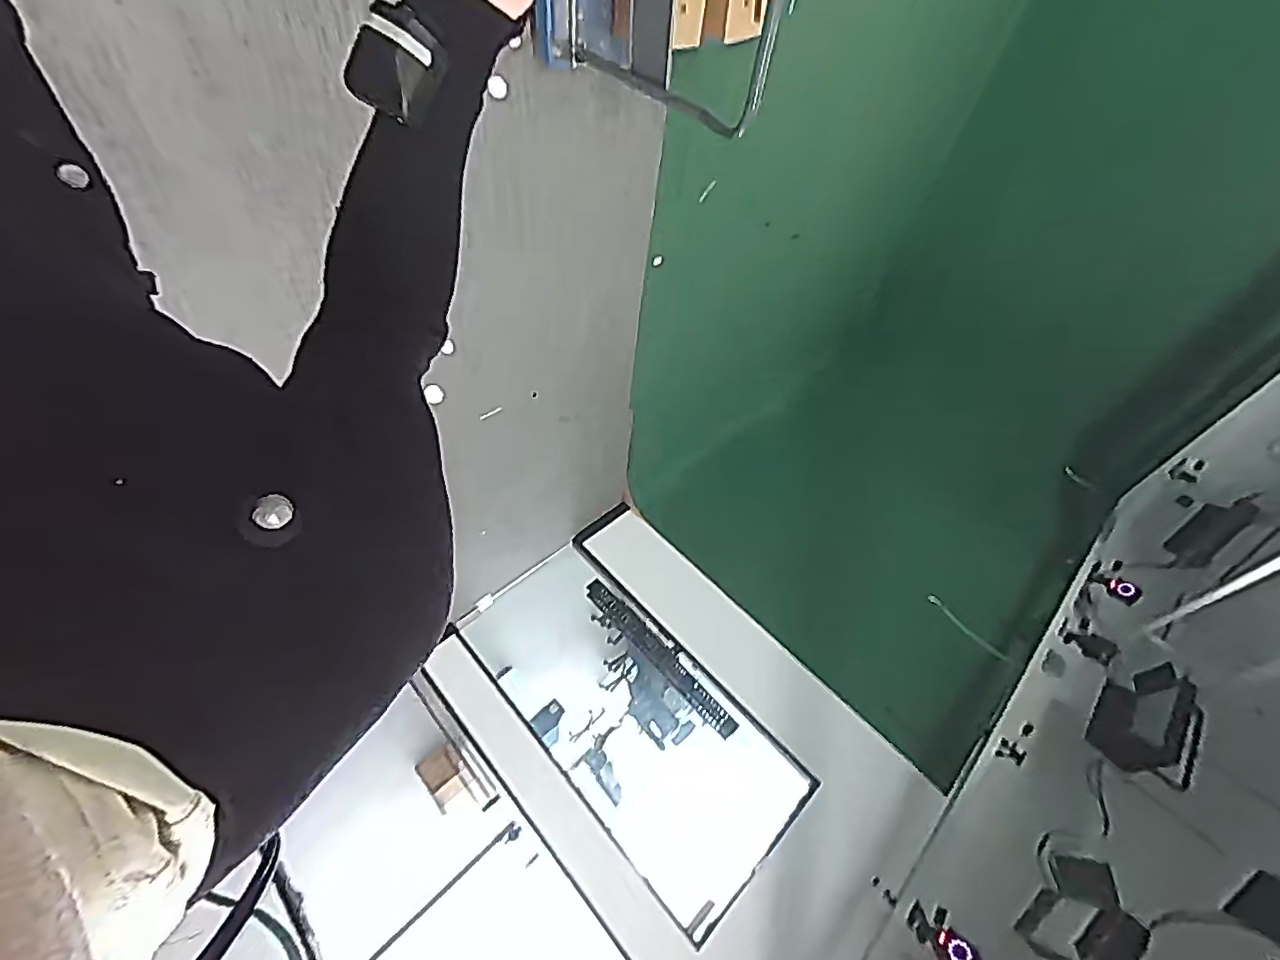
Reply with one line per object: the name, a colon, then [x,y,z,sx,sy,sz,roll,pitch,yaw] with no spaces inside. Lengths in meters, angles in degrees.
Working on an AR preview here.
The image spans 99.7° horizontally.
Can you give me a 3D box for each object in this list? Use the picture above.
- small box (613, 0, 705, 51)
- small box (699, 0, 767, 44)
small box: [0.053,-1.266,1.430,0.179,0.176,0.168,-32,151,-30]
small box: [0.251,-1.395,1.561,0.179,0.176,0.168,-34,152,-25]
